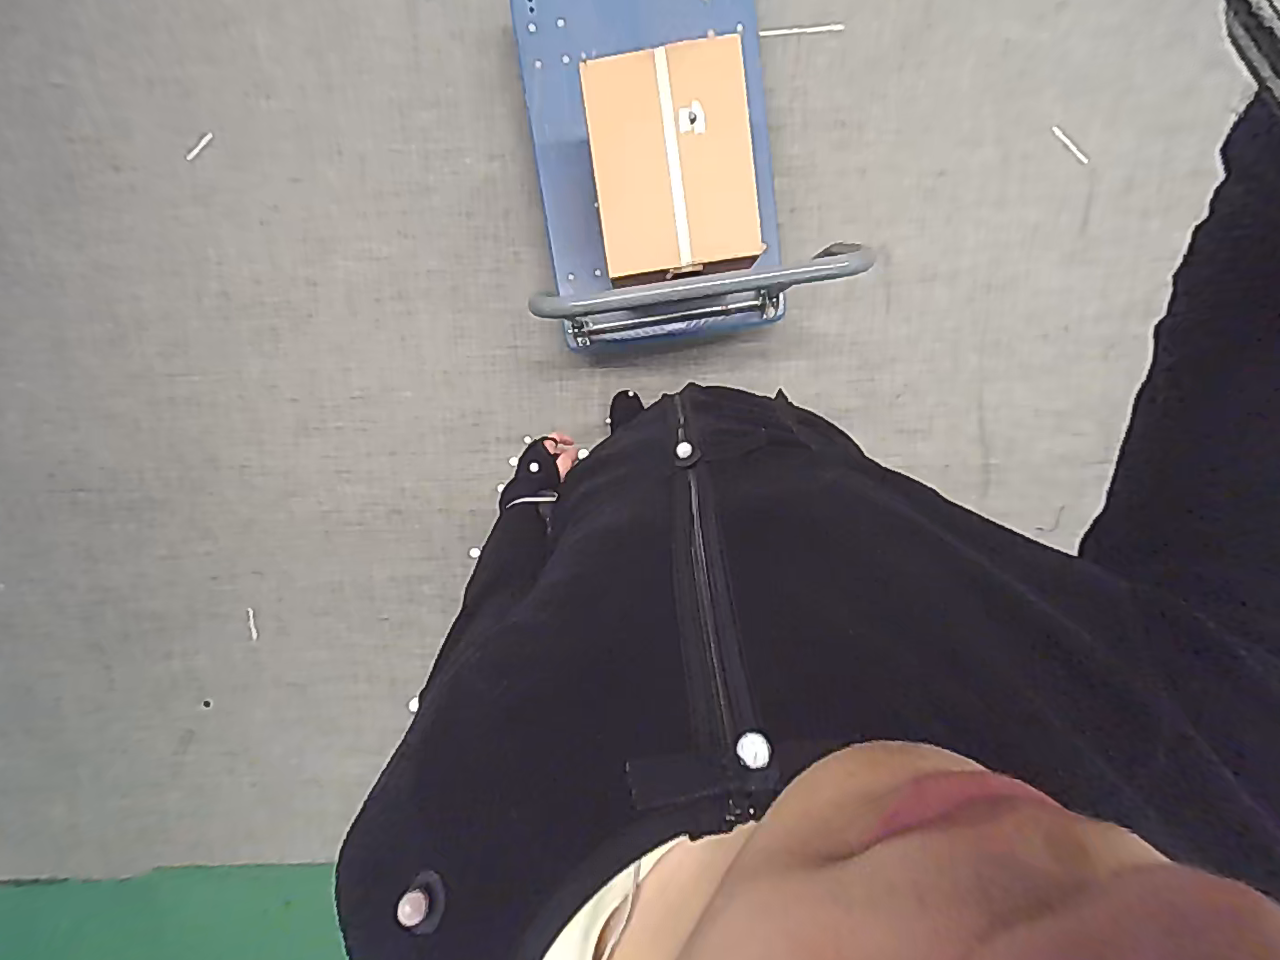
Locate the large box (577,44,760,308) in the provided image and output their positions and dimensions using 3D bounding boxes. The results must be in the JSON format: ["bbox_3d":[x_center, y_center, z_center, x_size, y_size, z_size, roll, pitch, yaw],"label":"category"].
[{"bbox_3d":[0.065,-0.639,1.215,0.320,0.320,0.408,-8,98,2],"label":"large box"}]
